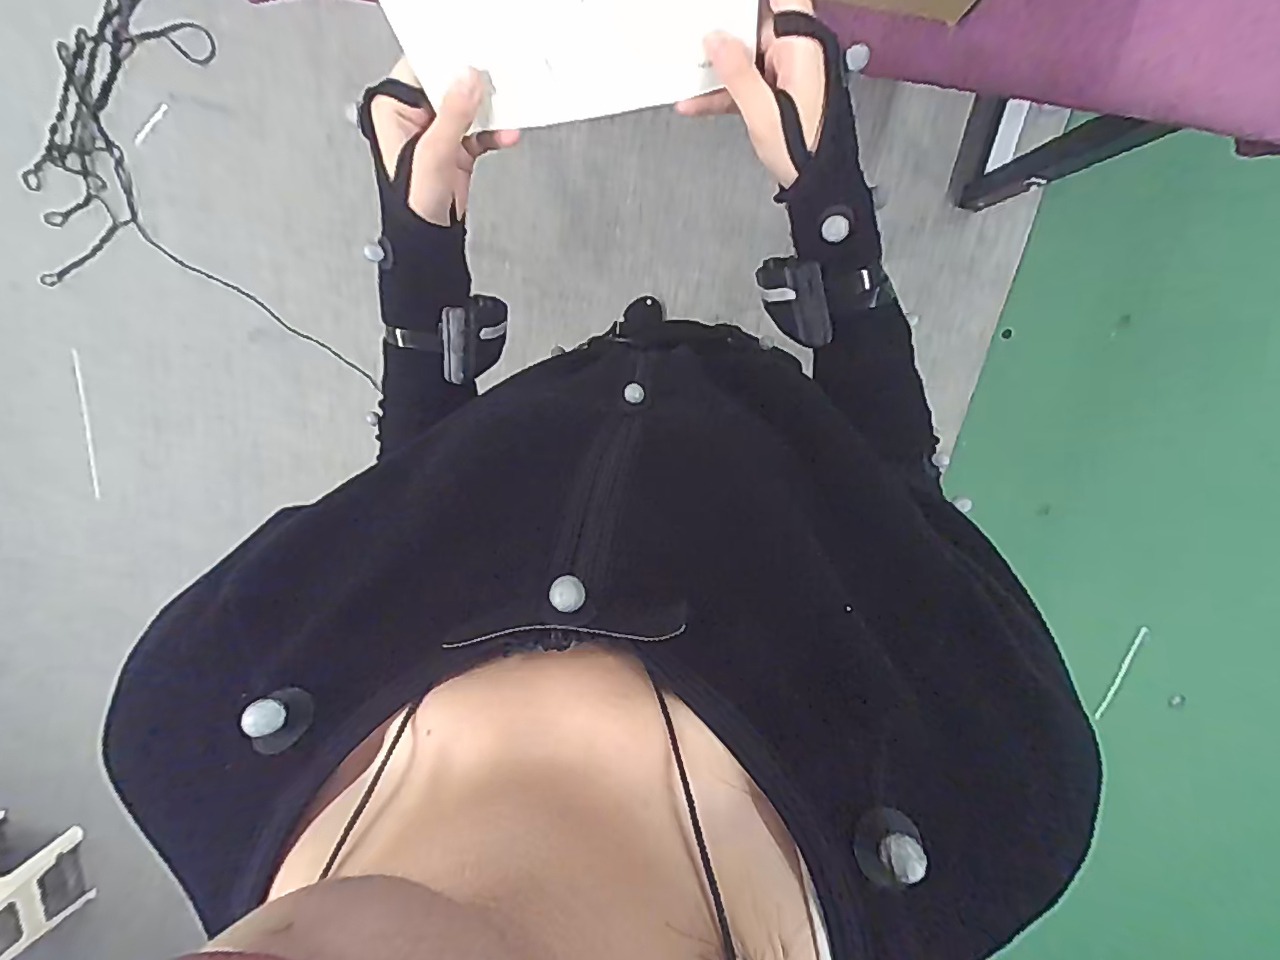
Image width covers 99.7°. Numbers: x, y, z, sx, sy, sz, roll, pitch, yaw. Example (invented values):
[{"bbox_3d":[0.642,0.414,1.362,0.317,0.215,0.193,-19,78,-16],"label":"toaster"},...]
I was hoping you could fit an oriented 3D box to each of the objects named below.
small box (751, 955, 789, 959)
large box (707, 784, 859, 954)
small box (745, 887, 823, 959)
[{"bbox_3d":[0.352,1.271,1.273,0.179,0.176,0.168,4,105,5],"label":"small box"},{"bbox_3d":[0.421,1.185,1.668,0.408,0.320,0.320,-3,106,5],"label":"large box"},{"bbox_3d":[0.372,1.222,1.427,0.168,0.176,0.179,3,105,5],"label":"small box"}]
